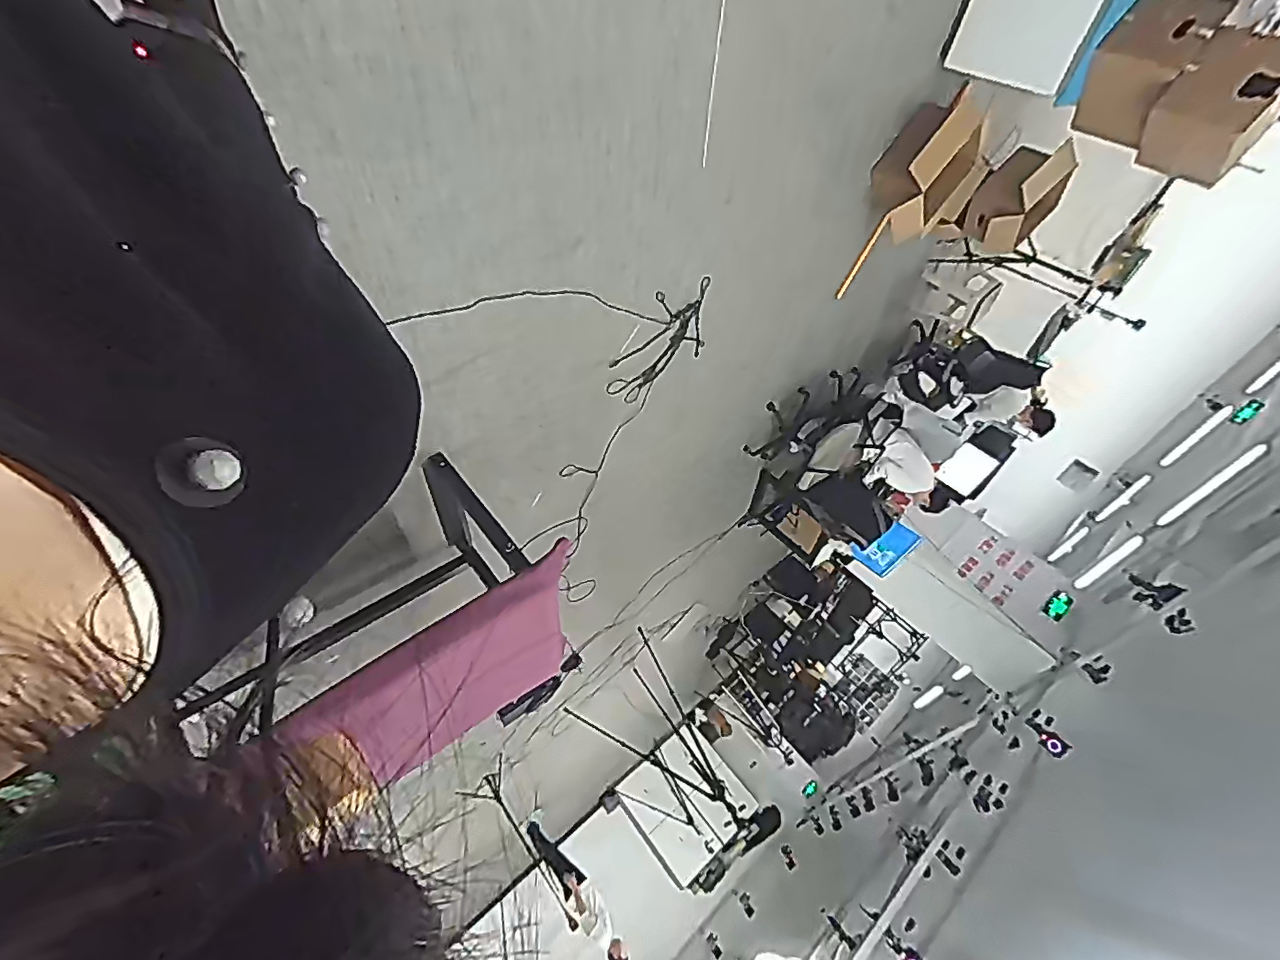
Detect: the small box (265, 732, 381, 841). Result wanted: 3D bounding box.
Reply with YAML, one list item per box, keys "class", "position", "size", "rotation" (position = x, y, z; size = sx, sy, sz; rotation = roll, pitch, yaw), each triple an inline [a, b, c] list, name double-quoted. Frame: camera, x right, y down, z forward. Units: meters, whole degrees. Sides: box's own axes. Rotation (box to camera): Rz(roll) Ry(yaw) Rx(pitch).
- class: "small box"
  position: [-0.790, 0.763, 1.354]
  size: [0.168, 0.176, 0.179]
  rotation: [-35, 151, -23]
